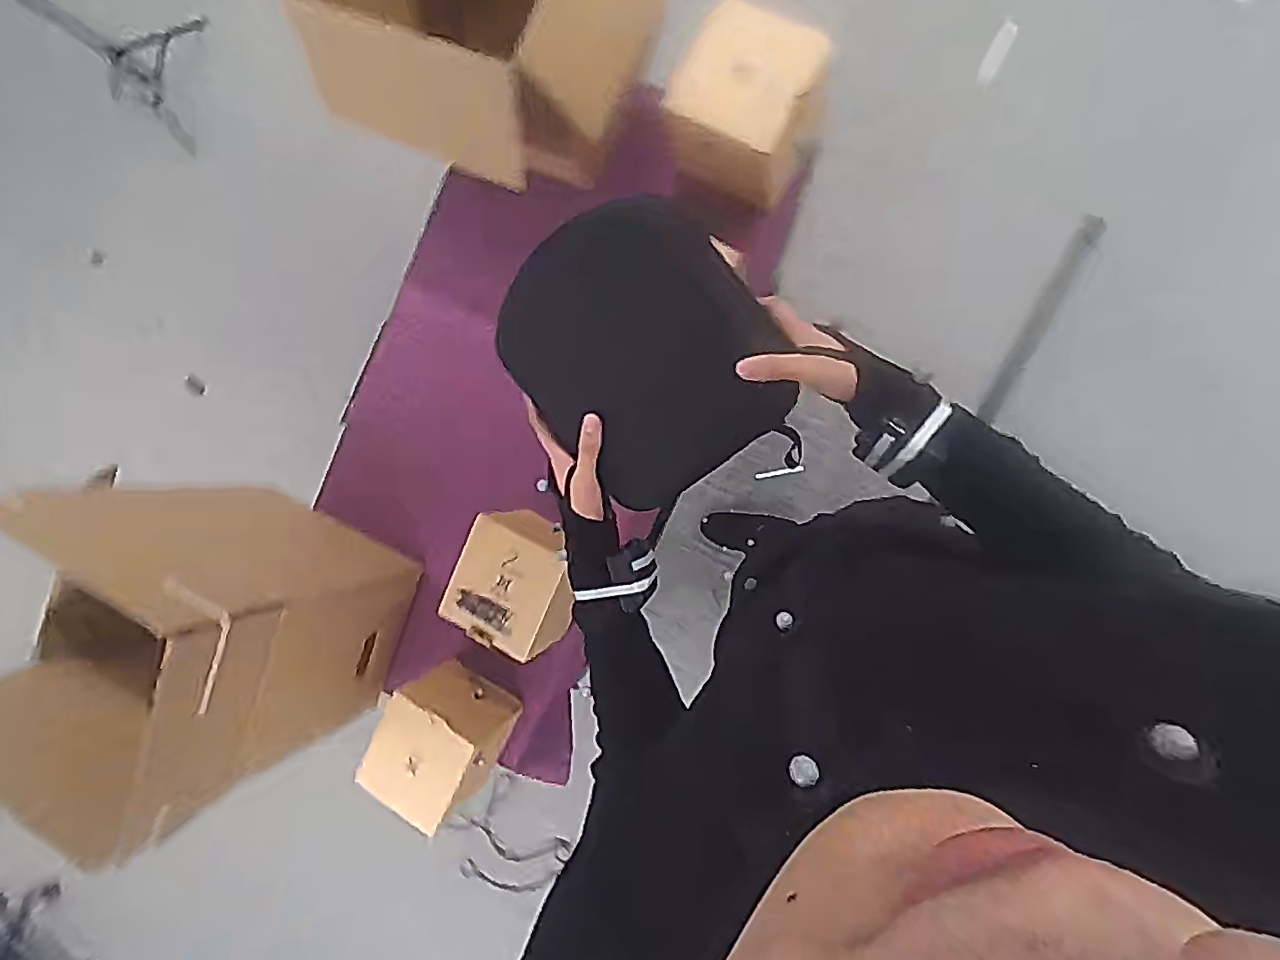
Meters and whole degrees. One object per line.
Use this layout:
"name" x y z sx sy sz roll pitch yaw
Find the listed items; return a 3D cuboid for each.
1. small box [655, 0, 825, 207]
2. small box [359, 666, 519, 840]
"small box" 0.152 -0.549 0.814 0.179 0.176 0.168 33 98 12
"small box" -0.338 0.458 0.939 0.168 0.176 0.179 26 95 13
